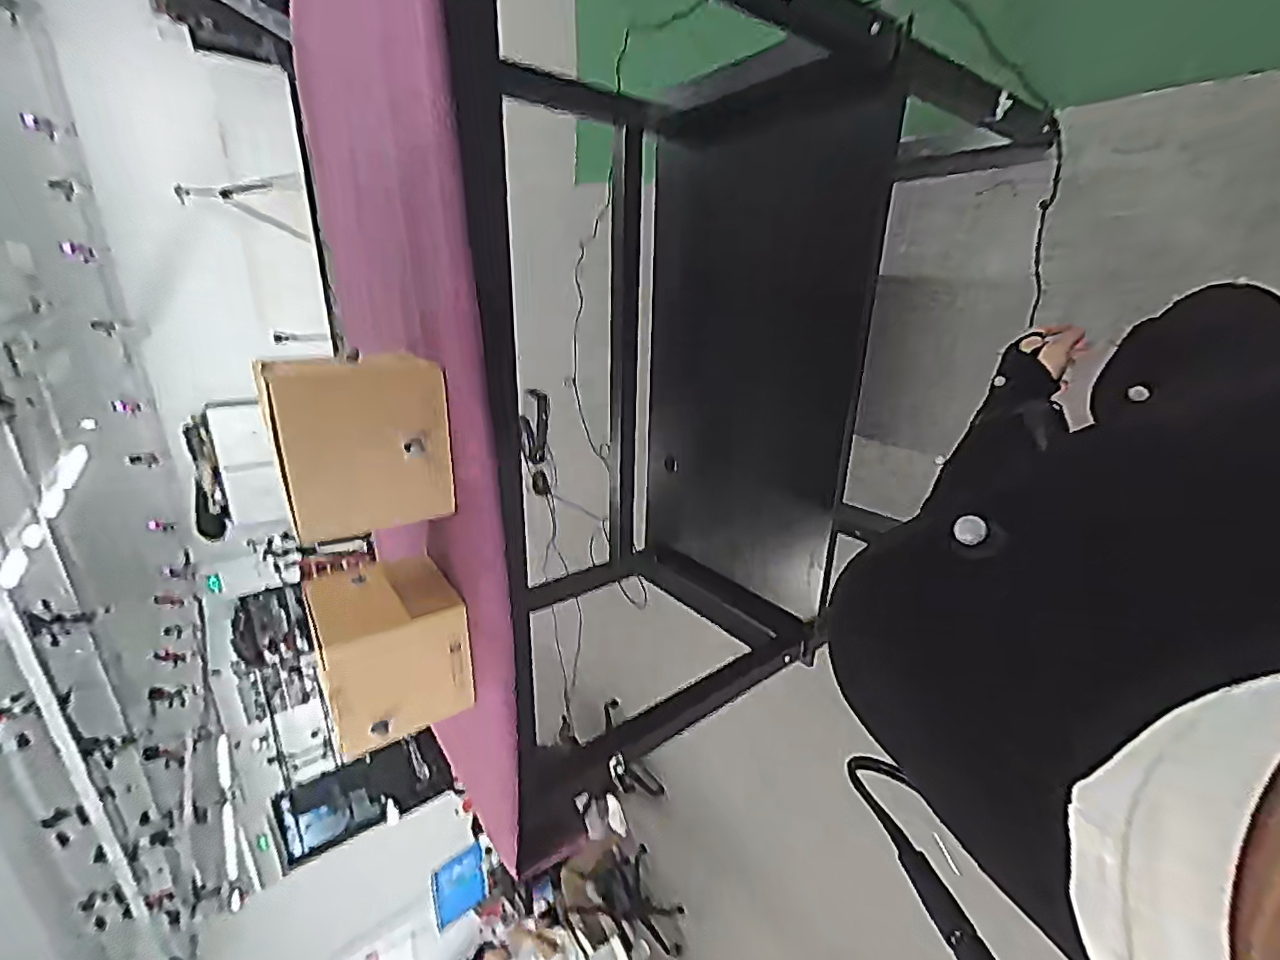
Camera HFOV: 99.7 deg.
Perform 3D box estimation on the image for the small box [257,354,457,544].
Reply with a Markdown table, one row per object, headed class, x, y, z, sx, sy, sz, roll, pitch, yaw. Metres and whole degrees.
| class | x | y | z | sx | sy | sz | roll | pitch | yaw |
| --- | --- | --- | --- | --- | --- | --- | --- | --- | --- |
| small box | -0.328 | -0.051 | 0.636 | 0.168 | 0.176 | 0.179 | 26 | 120 | 49 |
